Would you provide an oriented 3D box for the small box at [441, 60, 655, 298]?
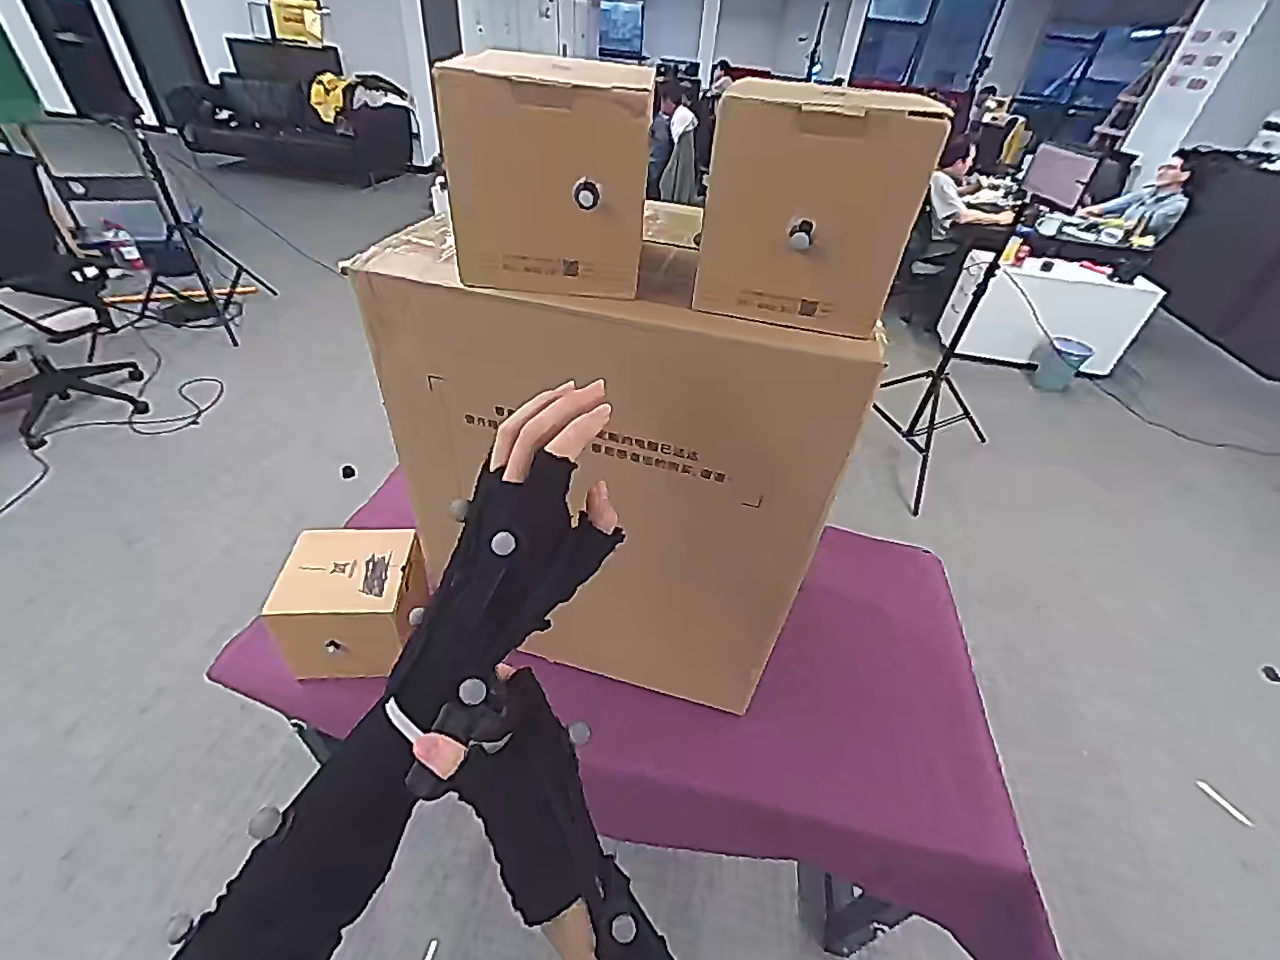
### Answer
[{"bbox_3d":[-0.075,-0.291,0.526,0.168,0.176,0.179,5,40,-3],"label":"small box"}]

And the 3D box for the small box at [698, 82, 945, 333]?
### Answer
[{"bbox_3d":[0.154,-0.256,0.507,0.168,0.176,0.179,13,42,8],"label":"small box"}]
